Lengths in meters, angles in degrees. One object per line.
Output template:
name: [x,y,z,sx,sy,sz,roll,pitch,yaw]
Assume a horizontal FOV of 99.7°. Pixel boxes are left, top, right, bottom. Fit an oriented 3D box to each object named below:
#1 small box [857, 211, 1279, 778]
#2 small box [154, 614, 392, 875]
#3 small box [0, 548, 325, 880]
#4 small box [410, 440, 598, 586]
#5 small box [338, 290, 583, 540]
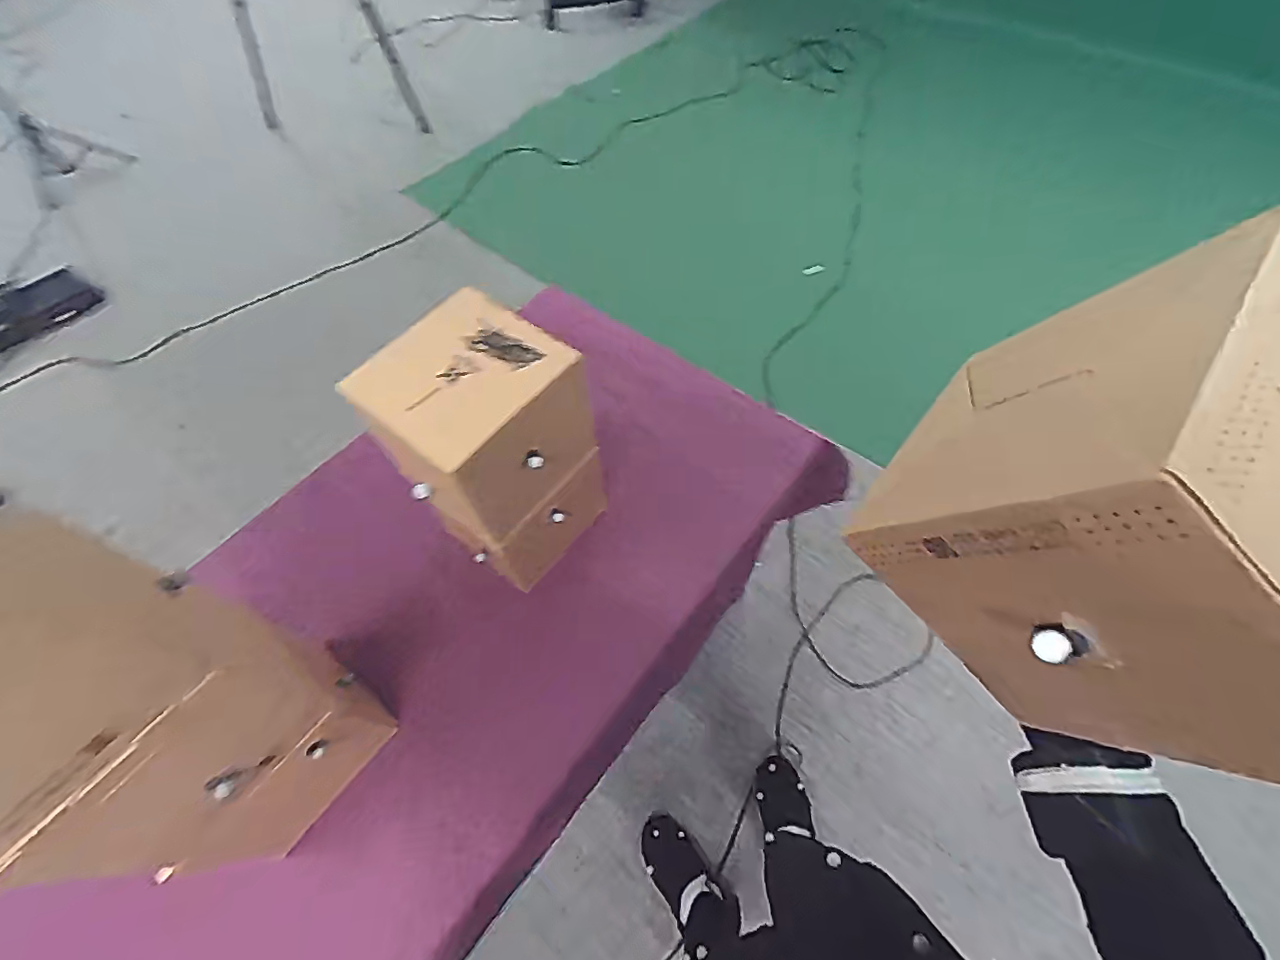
small box: [0.252,0.012,0.274,0.176,0.168,0.179,47,70,-2]
small box: [-0.416,0.285,0.595,0.168,0.176,0.179,32,65,19]
small box: [-0.421,0.195,0.457,0.179,0.176,0.168,31,65,19]
small box: [-0.171,0.016,0.742,0.168,0.176,0.179,34,66,19]
small box: [-0.178,-0.066,0.600,0.168,0.176,0.179,33,67,19]
